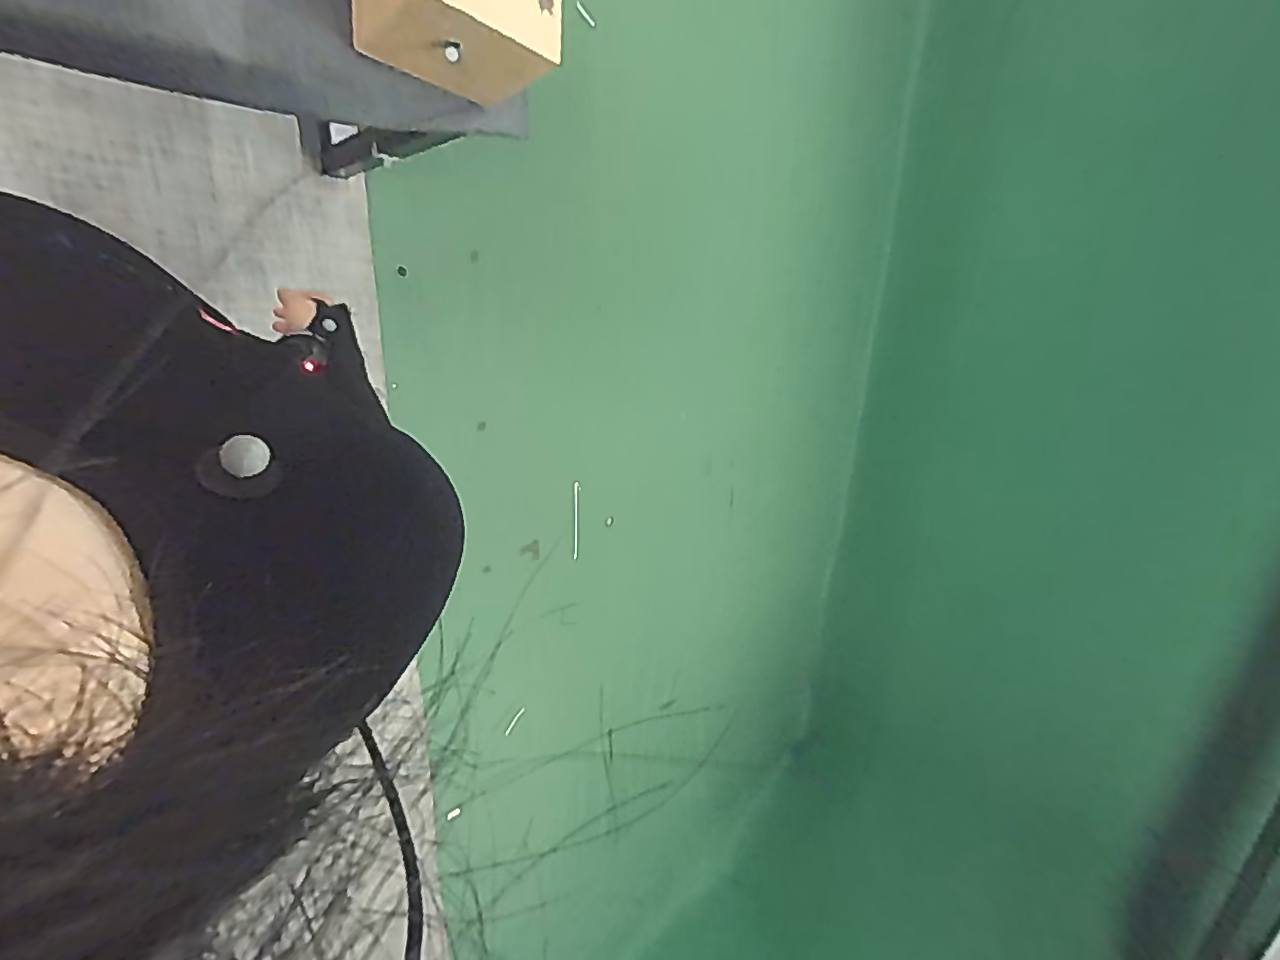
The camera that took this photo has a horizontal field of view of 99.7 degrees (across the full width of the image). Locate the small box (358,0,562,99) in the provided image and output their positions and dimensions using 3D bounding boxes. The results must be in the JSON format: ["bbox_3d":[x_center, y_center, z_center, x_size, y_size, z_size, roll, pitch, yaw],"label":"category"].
[{"bbox_3d":[-0.206,-0.571,0.612,0.179,0.176,0.168,-8,107,-44],"label":"small box"}]
